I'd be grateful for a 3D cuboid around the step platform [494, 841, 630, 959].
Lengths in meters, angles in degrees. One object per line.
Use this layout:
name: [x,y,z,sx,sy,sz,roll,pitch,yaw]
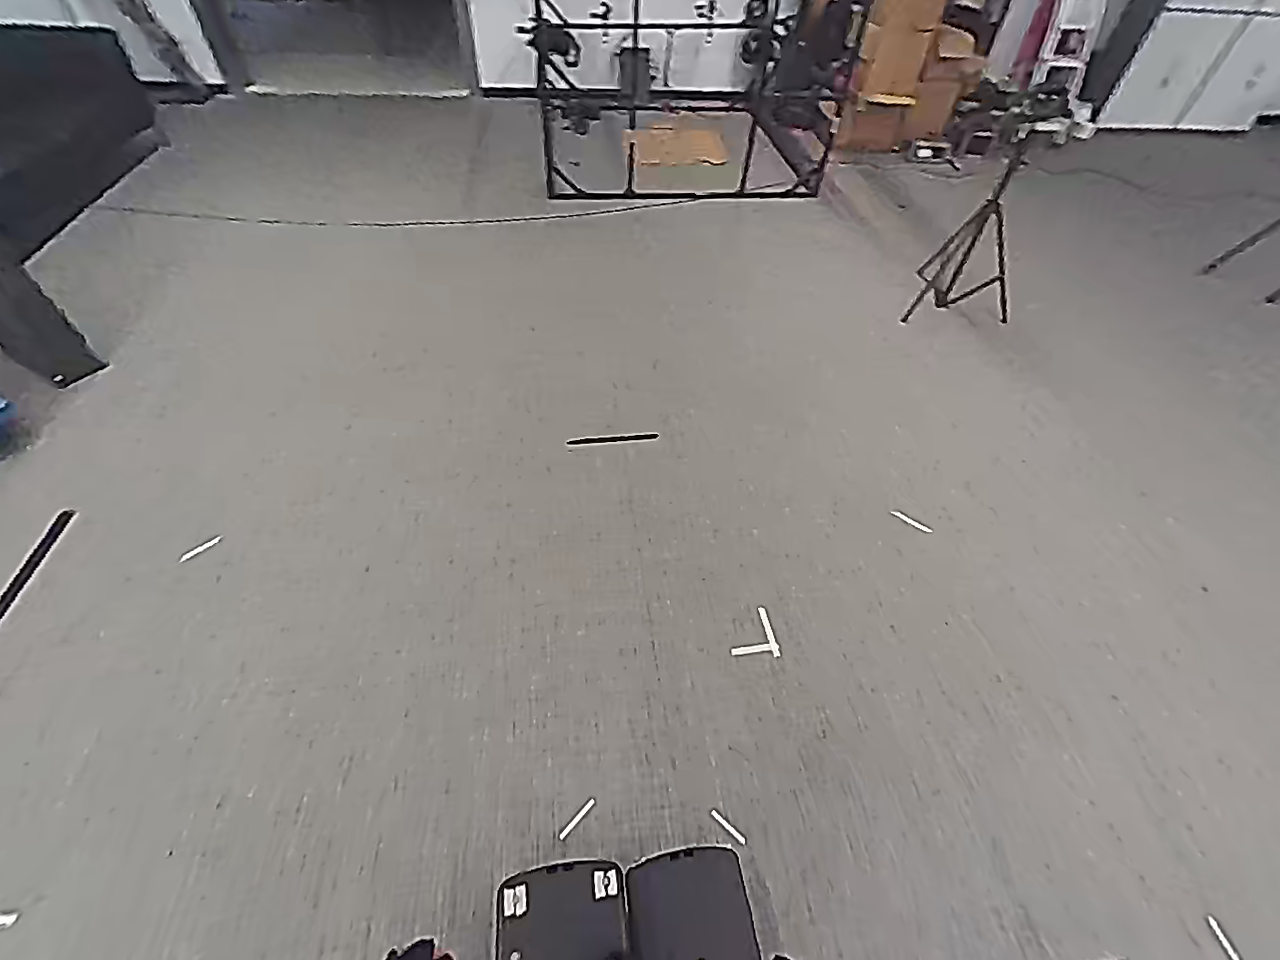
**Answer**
step platform: [-0.145,1.137,1.082,0.286,0.204,0.684,-5,49,-8]
